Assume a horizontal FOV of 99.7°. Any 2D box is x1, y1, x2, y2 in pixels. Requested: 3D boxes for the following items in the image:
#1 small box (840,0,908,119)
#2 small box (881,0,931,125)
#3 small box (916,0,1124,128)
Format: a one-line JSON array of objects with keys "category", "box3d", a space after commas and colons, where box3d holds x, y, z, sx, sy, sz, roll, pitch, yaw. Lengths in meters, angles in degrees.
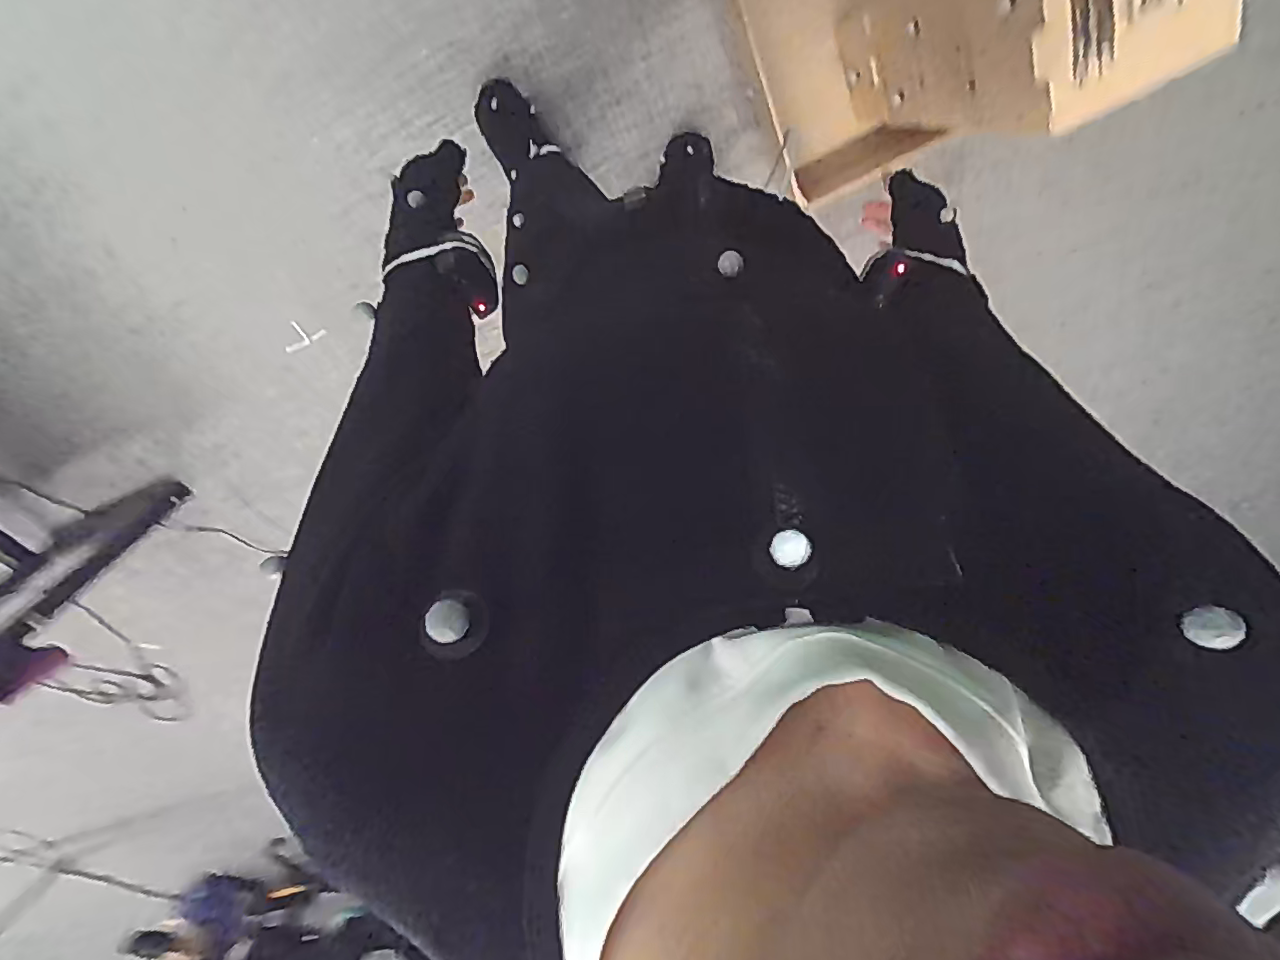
[{"category": "small box", "box3d": [0.486, -0.790, 0.987, 0.179, 0.176, 0.168, -26, 119, 15]}, {"category": "small box", "box3d": [0.496, -0.680, 0.842, 0.179, 0.176, 0.168, -22, 121, 13]}, {"category": "small box", "box3d": [0.491, -0.597, 0.721, 0.179, 0.176, 0.168, -21, 122, 13]}]
